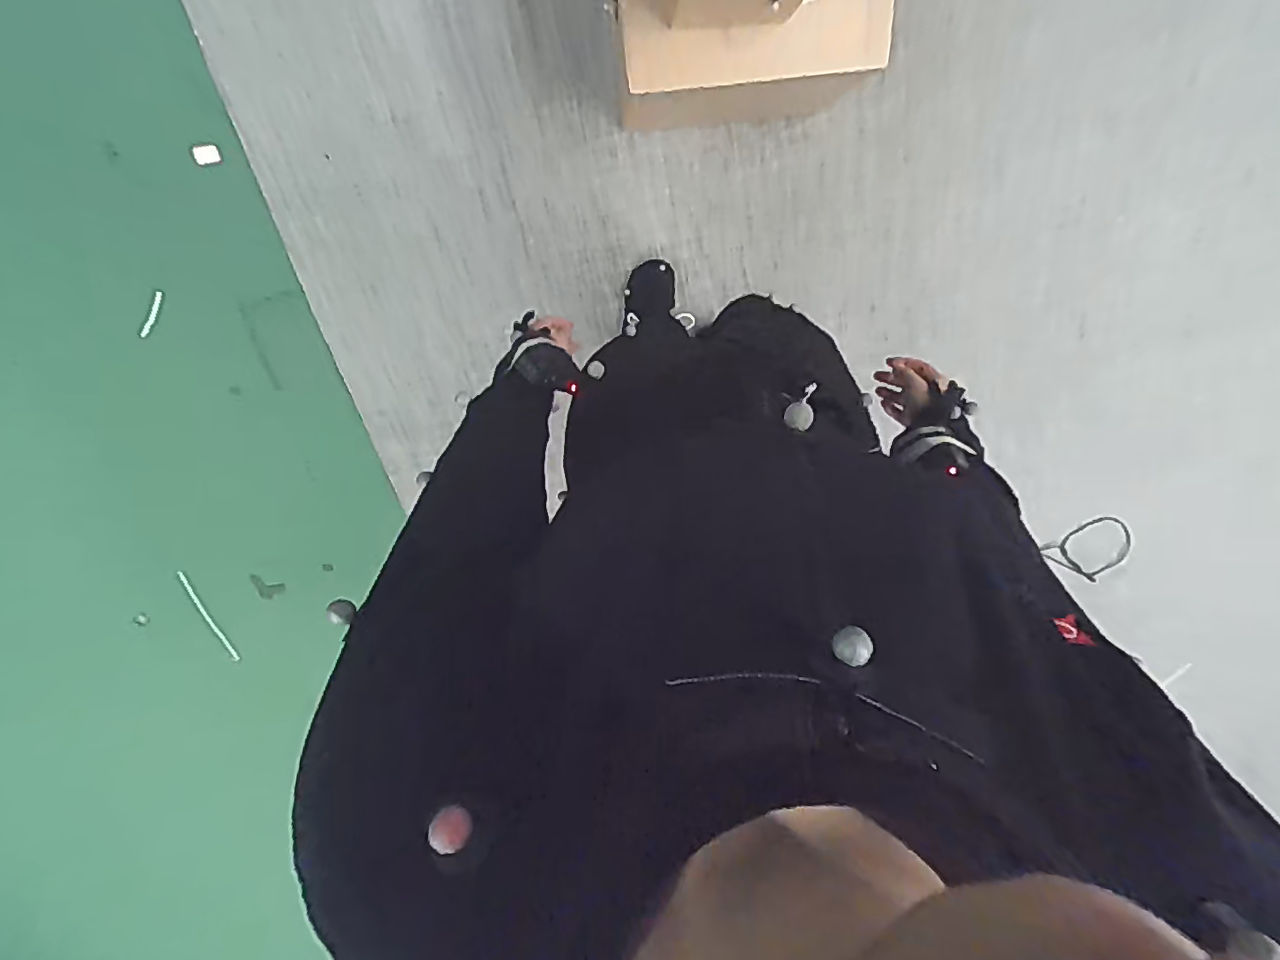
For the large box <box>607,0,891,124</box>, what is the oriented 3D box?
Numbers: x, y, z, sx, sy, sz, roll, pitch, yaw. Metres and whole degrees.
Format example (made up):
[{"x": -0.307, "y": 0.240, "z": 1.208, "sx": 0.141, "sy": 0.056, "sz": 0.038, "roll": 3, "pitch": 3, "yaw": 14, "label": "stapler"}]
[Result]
[{"x": 0.153, "y": -0.818, "z": 0.892, "sx": 0.408, "sy": 0.320, "sz": 0.320, "roll": -7, "pitch": 115, "yaw": -2, "label": "large box"}]

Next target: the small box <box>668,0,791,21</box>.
[{"x": 0.127, "y": -0.709, "z": 0.673, "sx": 0.179, "sy": 0.176, "sz": 0.168, "roll": -6, "pitch": 113, "yaw": 0, "label": "small box"}]
